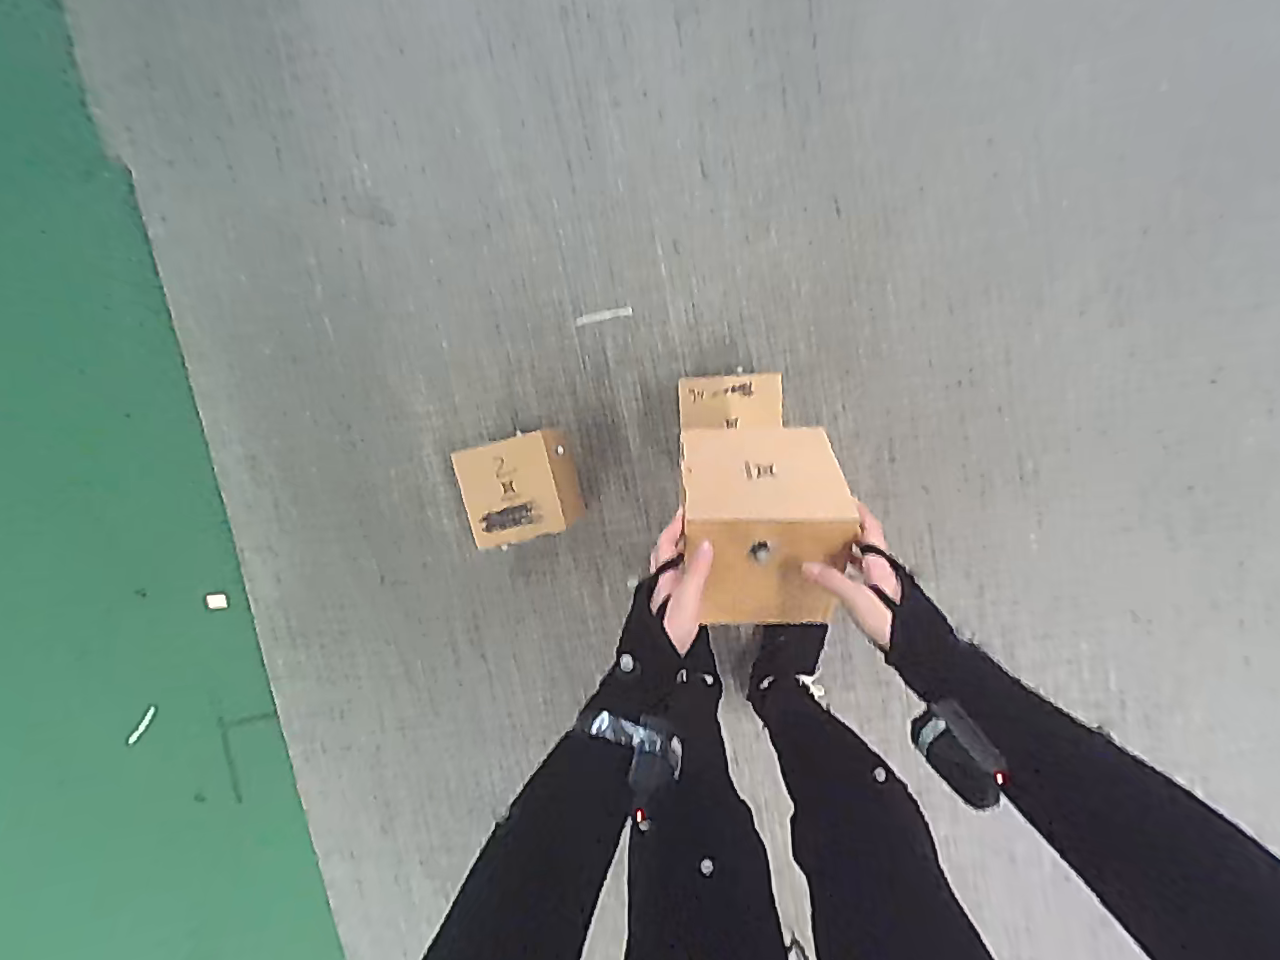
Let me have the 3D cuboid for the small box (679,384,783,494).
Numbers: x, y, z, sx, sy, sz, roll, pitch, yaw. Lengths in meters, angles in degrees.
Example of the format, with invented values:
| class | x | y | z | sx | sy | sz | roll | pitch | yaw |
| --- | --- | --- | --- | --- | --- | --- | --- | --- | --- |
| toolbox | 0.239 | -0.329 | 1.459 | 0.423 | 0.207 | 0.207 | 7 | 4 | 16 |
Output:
| class | x | y | z | sx | sy | sz | roll | pitch | yaw |
| --- | --- | --- | --- | --- | --- | --- | --- | --- | --- |
| small box | 0.157 | -0.076 | 0.959 | 0.168 | 0.176 | 0.179 | -3 | 97 | 5 |
